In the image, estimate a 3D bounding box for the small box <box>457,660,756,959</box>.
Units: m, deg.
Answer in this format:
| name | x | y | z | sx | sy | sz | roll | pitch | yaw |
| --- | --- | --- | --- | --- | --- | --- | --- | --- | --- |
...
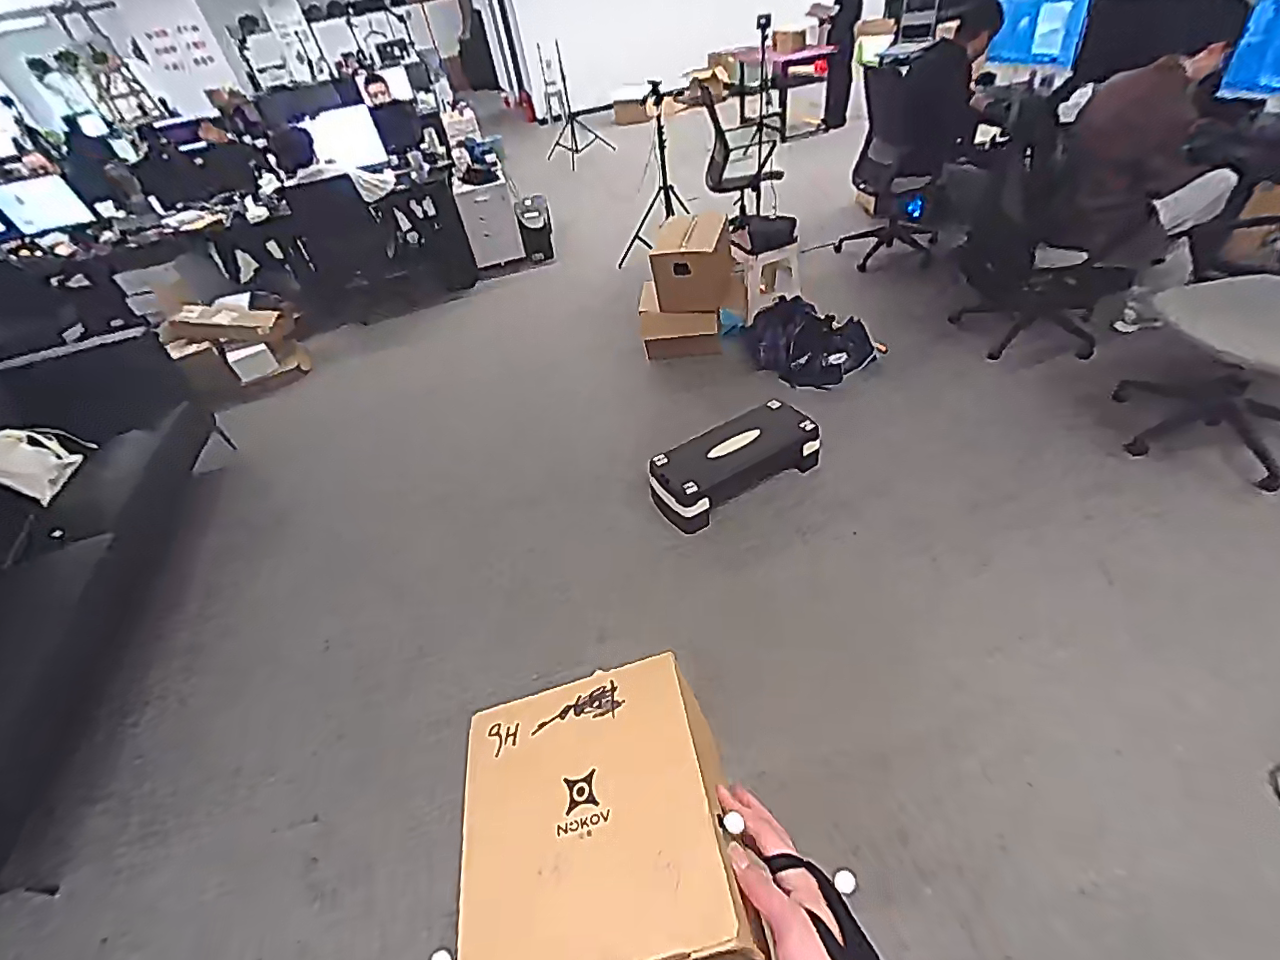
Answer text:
| name | x | y | z | sx | sy | sz | roll | pitch | yaw |
| --- | --- | --- | --- | --- | --- | --- | --- | --- | --- |
| small box | -0.020 | 0.272 | 0.410 | 0.168 | 0.176 | 0.179 | -18 | 44 | 2 |
